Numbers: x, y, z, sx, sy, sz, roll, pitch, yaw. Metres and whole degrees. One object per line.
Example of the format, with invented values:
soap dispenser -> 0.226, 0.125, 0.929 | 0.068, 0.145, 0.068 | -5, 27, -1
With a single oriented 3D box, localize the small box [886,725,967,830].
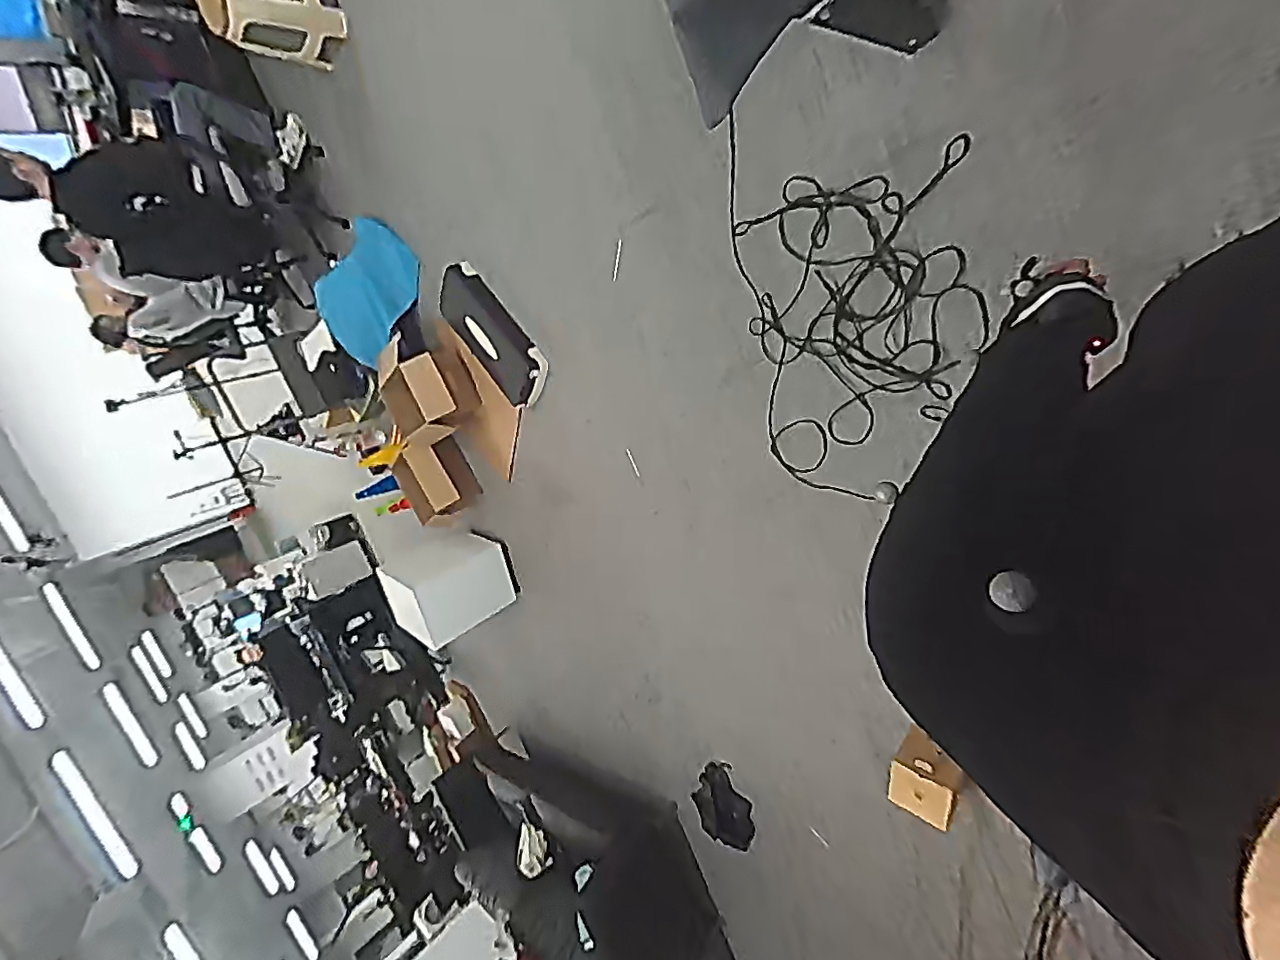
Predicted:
small box -> 0.862, 0.888, 1.625 | 0.168, 0.176, 0.179 | 16, 123, 42
